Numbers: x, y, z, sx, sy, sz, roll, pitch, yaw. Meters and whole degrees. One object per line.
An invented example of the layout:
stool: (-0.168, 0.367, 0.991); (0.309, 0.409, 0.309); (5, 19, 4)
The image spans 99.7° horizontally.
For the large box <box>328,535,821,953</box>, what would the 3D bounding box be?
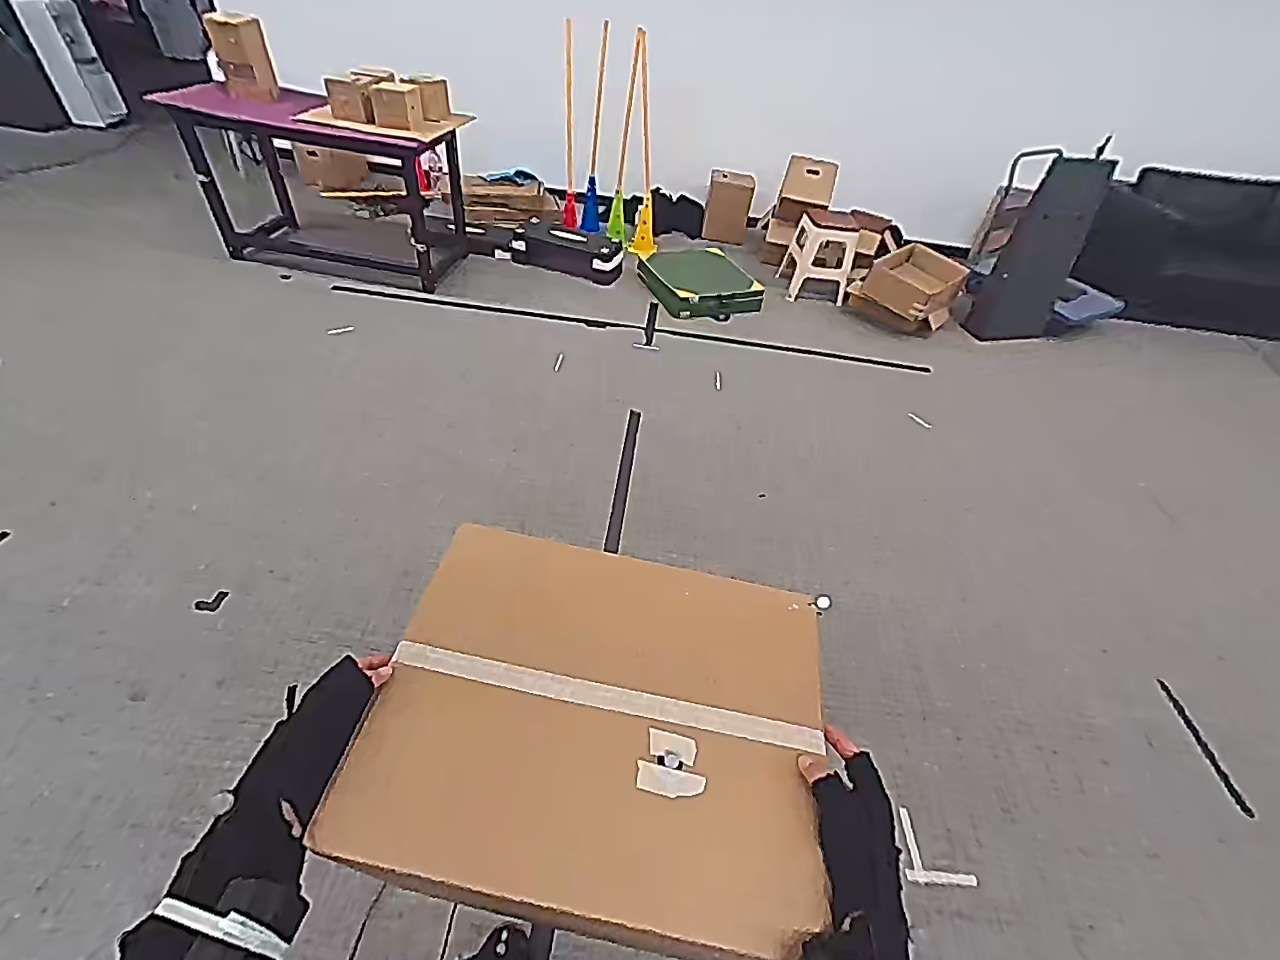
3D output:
large box: (-0.048, 0.308, 0.628); (0.408, 0.320, 0.320); (12, 49, 2)
